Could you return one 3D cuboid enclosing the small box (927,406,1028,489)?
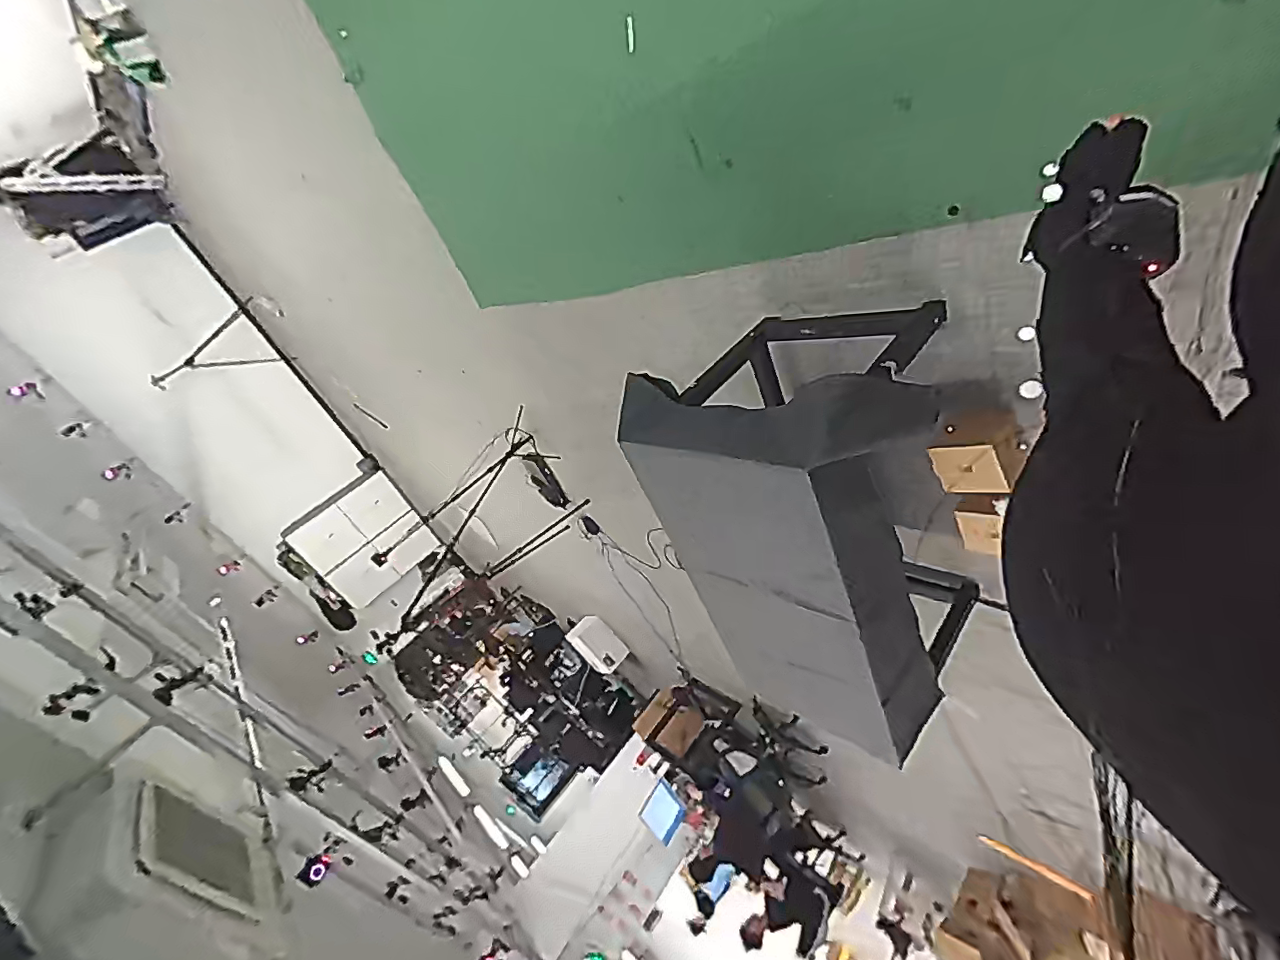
[{"bbox_3d":[0.962,-0.092,1.539,0.179,0.176,0.168,0,129,57],"label":"small box"}]
